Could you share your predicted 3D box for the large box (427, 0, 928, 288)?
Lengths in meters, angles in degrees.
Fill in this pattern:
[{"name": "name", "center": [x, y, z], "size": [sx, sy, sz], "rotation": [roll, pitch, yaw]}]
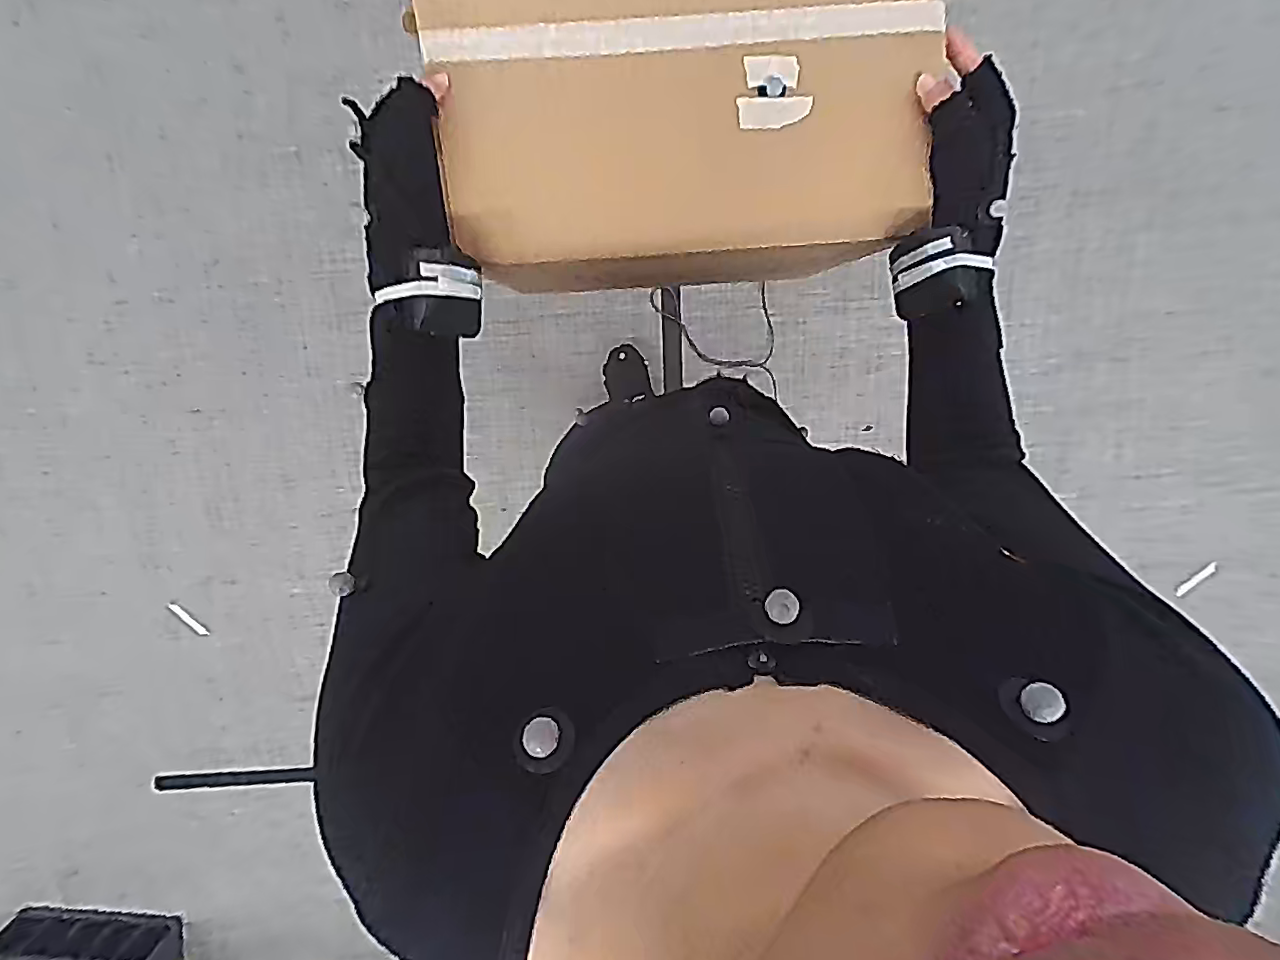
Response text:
[{"name": "large box", "center": [0.026, -0.393, 0.577], "size": [0.408, 0.320, 0.320], "rotation": [-4, 106, -2]}]
